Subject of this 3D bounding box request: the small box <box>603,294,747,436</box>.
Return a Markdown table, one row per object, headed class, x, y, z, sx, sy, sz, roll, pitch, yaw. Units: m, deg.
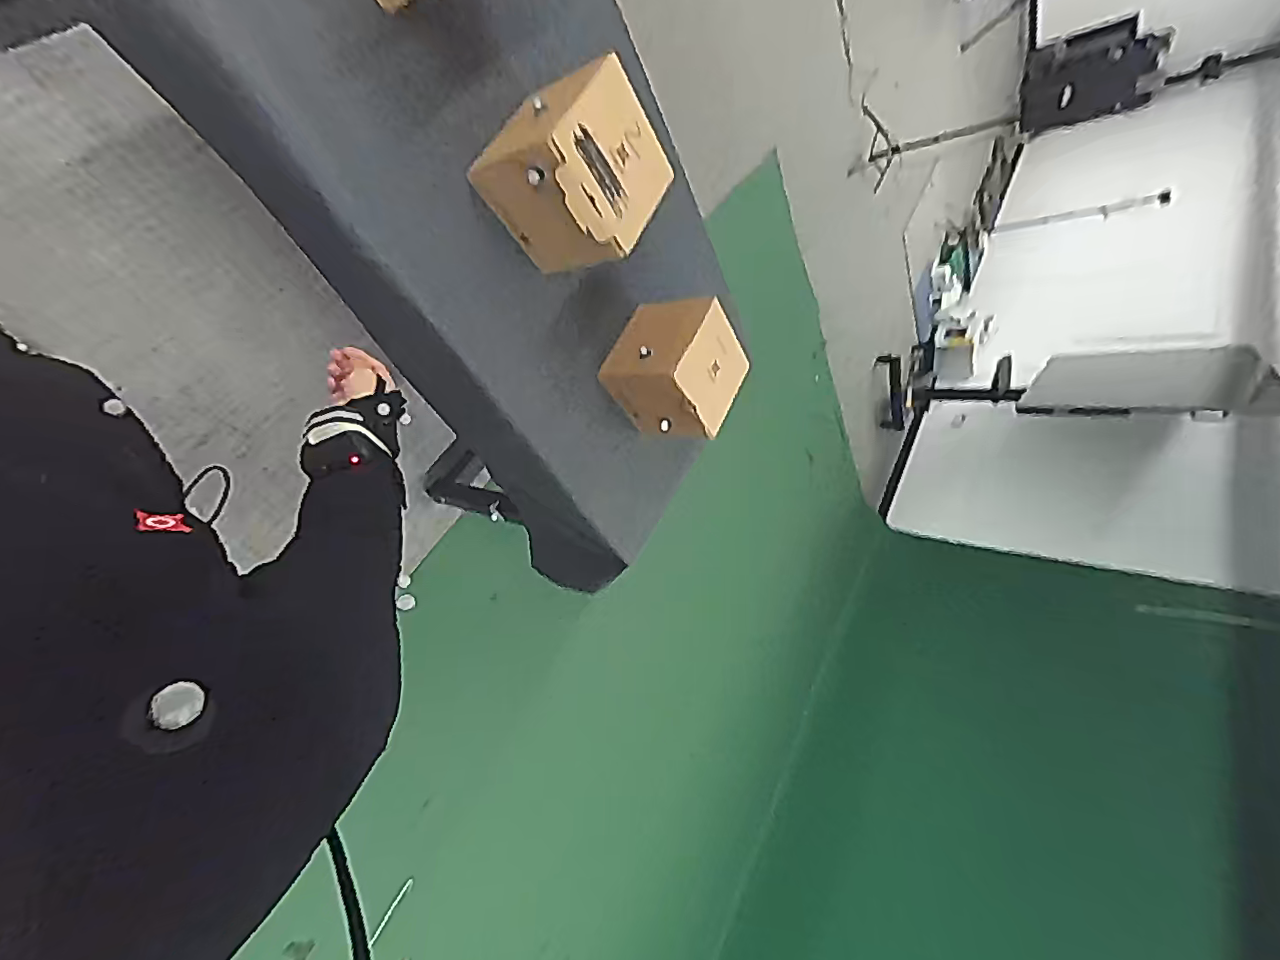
| class | x | y | z | sx | sy | sz | roll | pitch | yaw |
| --- | --- | --- | --- | --- | --- | --- | --- | --- | --- |
| small box | 0.059 | -0.197 | 0.953 | 0.168 | 0.176 | 0.179 | 49 | 59 | -44 |
